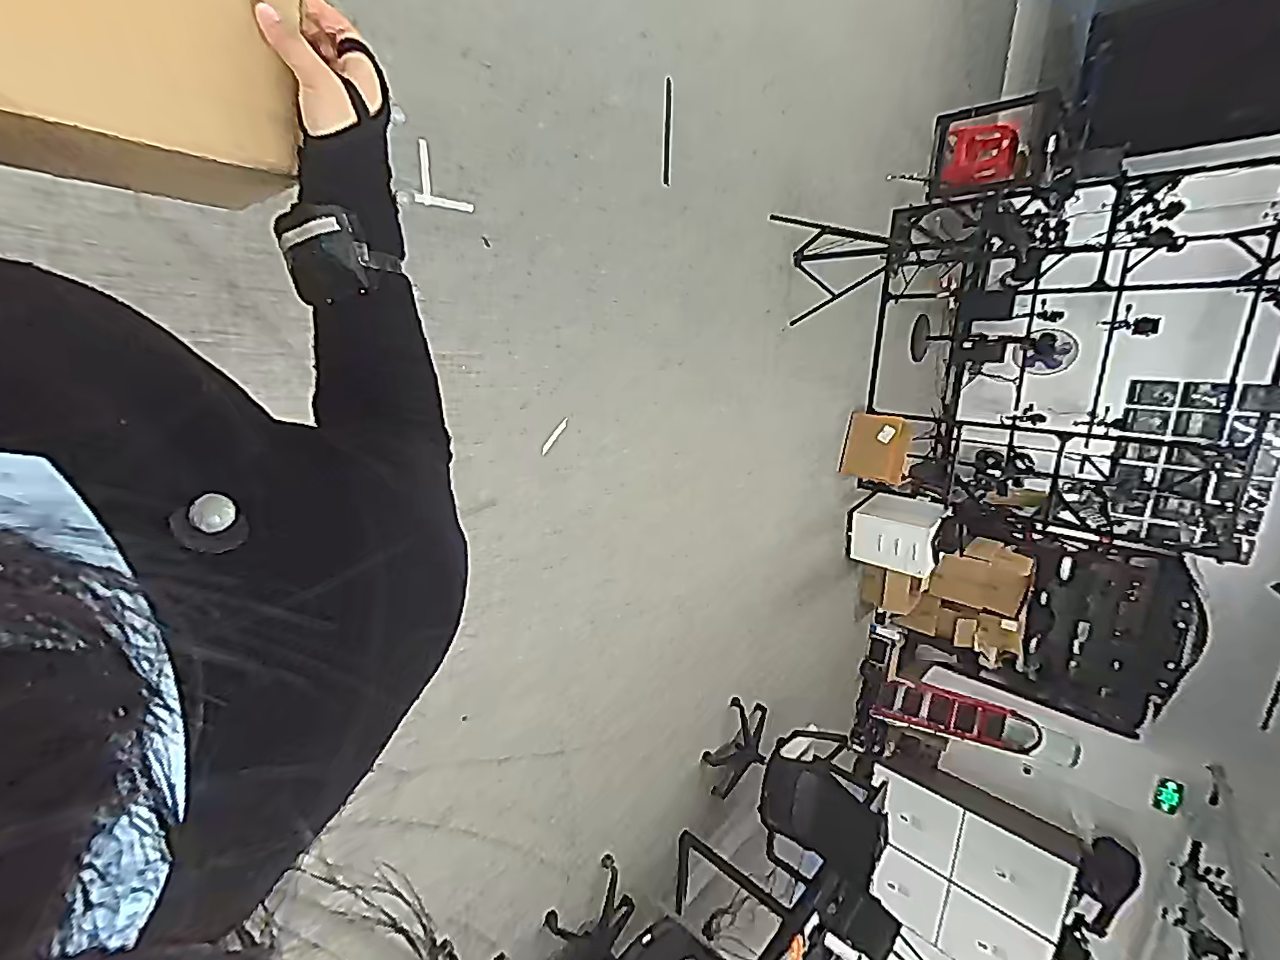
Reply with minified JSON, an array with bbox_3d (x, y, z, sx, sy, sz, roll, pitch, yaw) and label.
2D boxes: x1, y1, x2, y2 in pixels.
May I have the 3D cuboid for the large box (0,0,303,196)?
[{"bbox_3d":[-0.496,-0.410,0.363,0.408,0.320,0.320,-8,110,-42],"label":"large box"}]
